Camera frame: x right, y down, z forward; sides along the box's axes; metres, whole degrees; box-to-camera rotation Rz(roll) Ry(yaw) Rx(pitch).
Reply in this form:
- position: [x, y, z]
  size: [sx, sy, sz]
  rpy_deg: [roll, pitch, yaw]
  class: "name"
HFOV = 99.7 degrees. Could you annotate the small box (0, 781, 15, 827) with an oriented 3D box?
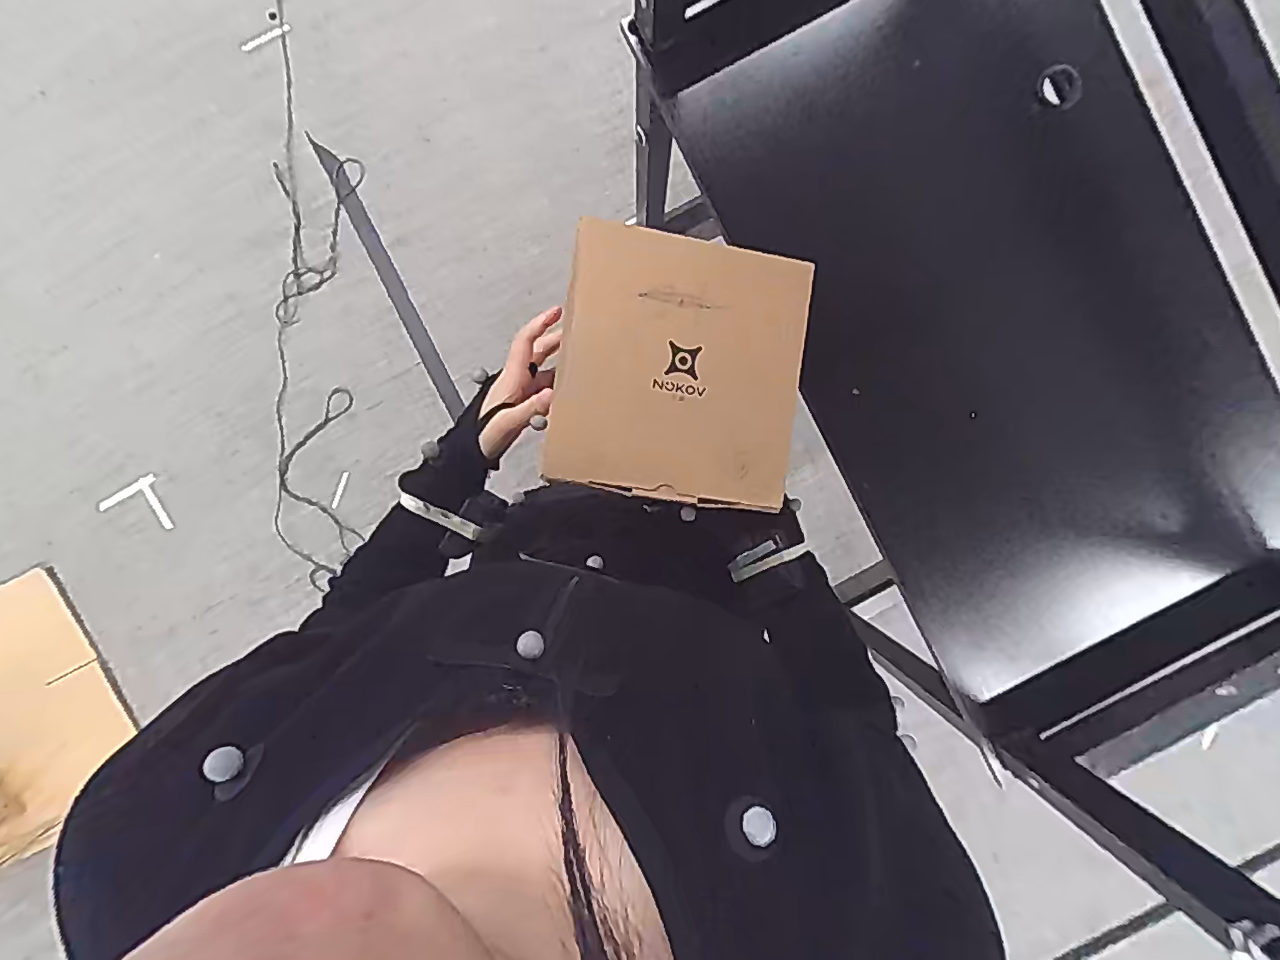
- position: [-1.816, 0.895, 1.411]
  size: [0.179, 0.176, 0.168]
  rpy_deg: [-34, 92, 0]
  class: "small box"
